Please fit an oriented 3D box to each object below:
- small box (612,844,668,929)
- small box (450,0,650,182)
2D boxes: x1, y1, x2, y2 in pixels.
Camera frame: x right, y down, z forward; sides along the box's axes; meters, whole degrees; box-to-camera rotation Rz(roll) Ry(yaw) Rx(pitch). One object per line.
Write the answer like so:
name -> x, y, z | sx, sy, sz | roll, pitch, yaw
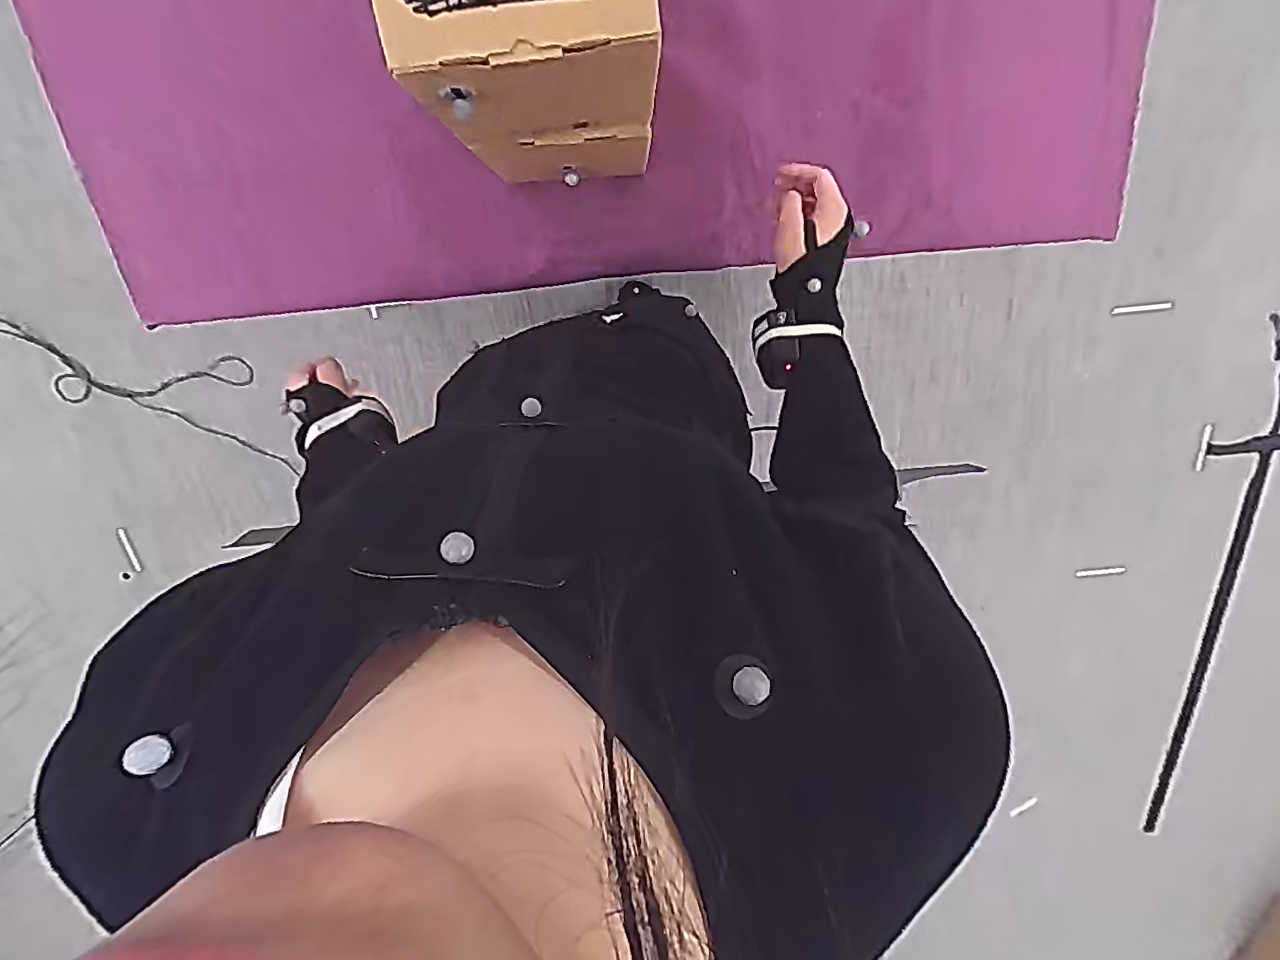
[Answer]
small box -> -0.001, 1.471, 1.960 | 0.168, 0.176, 0.179 | -15, 110, 2
small box -> -0.079, -0.409, 0.530 | 0.168, 0.176, 0.179 | -3, 109, 0
